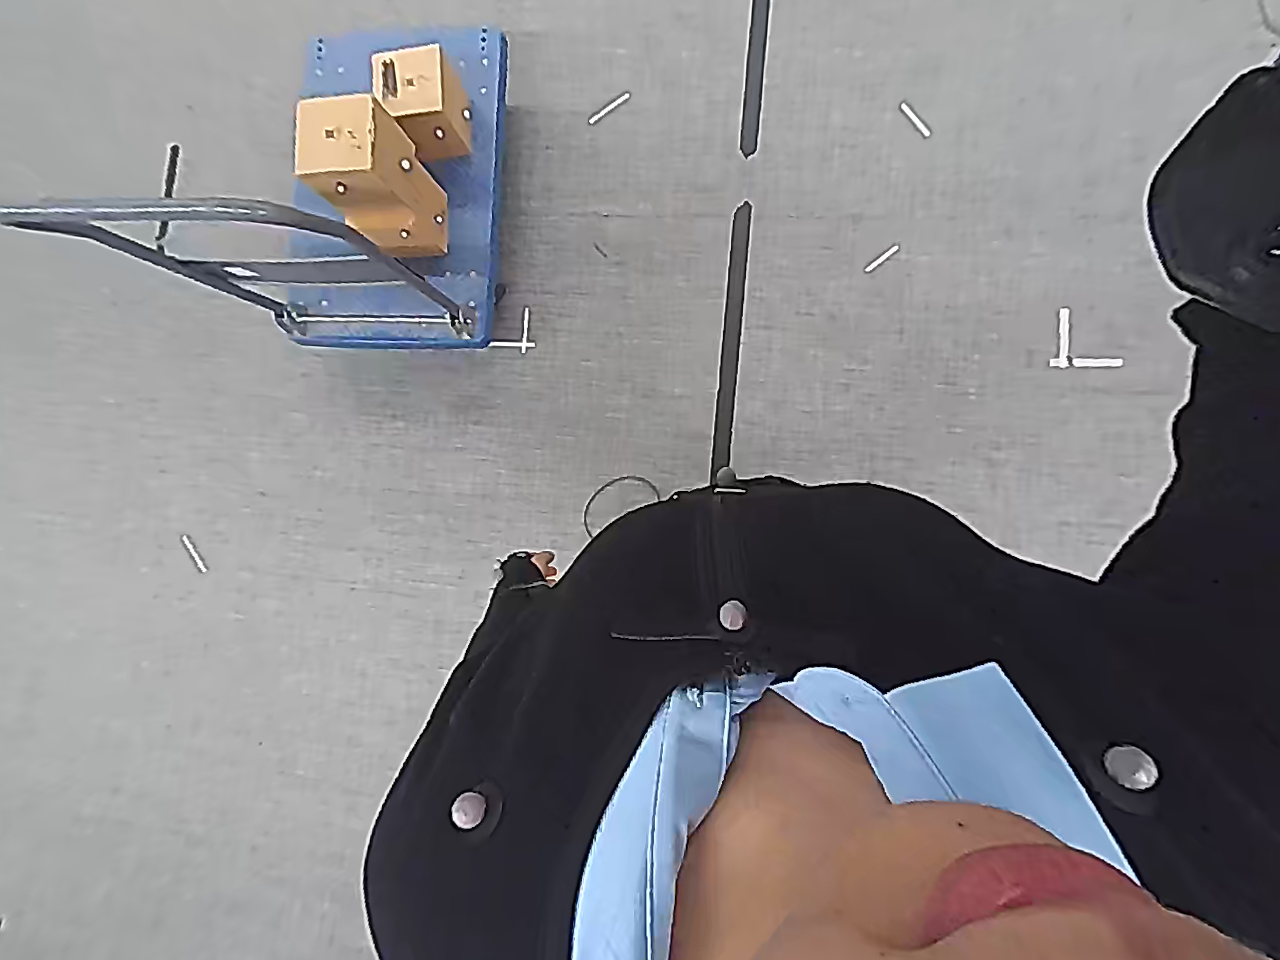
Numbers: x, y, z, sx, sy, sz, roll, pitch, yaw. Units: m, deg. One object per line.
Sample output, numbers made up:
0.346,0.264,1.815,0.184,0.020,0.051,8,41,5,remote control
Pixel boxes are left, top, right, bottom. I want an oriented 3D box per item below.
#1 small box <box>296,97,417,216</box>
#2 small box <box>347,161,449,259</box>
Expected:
-0.628,-0.712,1.210,0.179,0.176,0.168,0,87,6,small box
-0.609,-0.678,1.372,0.179,0.176,0.168,-1,87,6,small box
